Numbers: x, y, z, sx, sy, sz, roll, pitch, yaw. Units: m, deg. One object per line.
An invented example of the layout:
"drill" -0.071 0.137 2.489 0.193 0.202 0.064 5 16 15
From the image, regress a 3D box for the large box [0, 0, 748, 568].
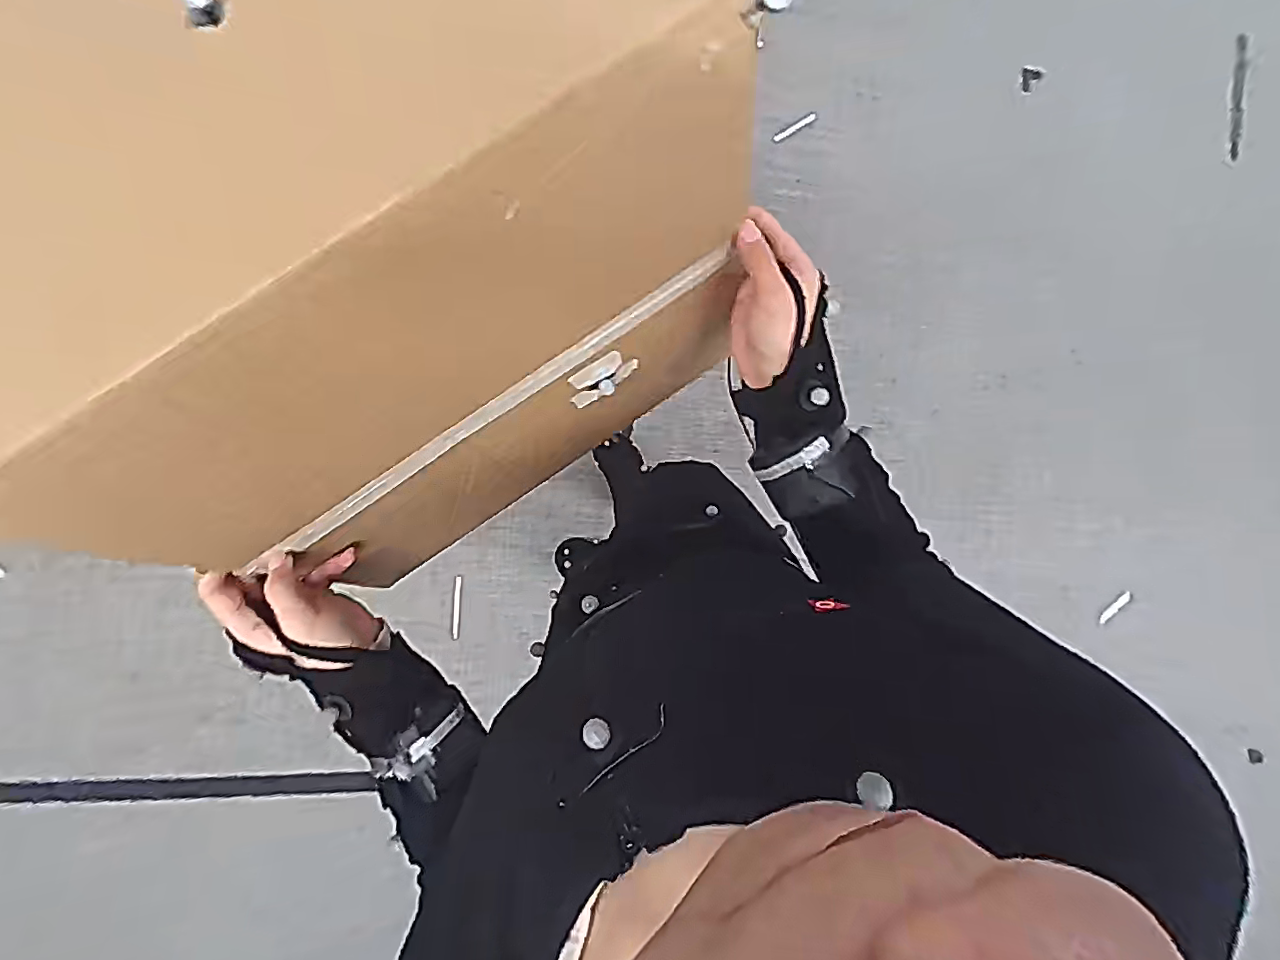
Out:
"large box" -0.175 -0.185 0.415 0.408 0.320 0.320 -34 73 -2
